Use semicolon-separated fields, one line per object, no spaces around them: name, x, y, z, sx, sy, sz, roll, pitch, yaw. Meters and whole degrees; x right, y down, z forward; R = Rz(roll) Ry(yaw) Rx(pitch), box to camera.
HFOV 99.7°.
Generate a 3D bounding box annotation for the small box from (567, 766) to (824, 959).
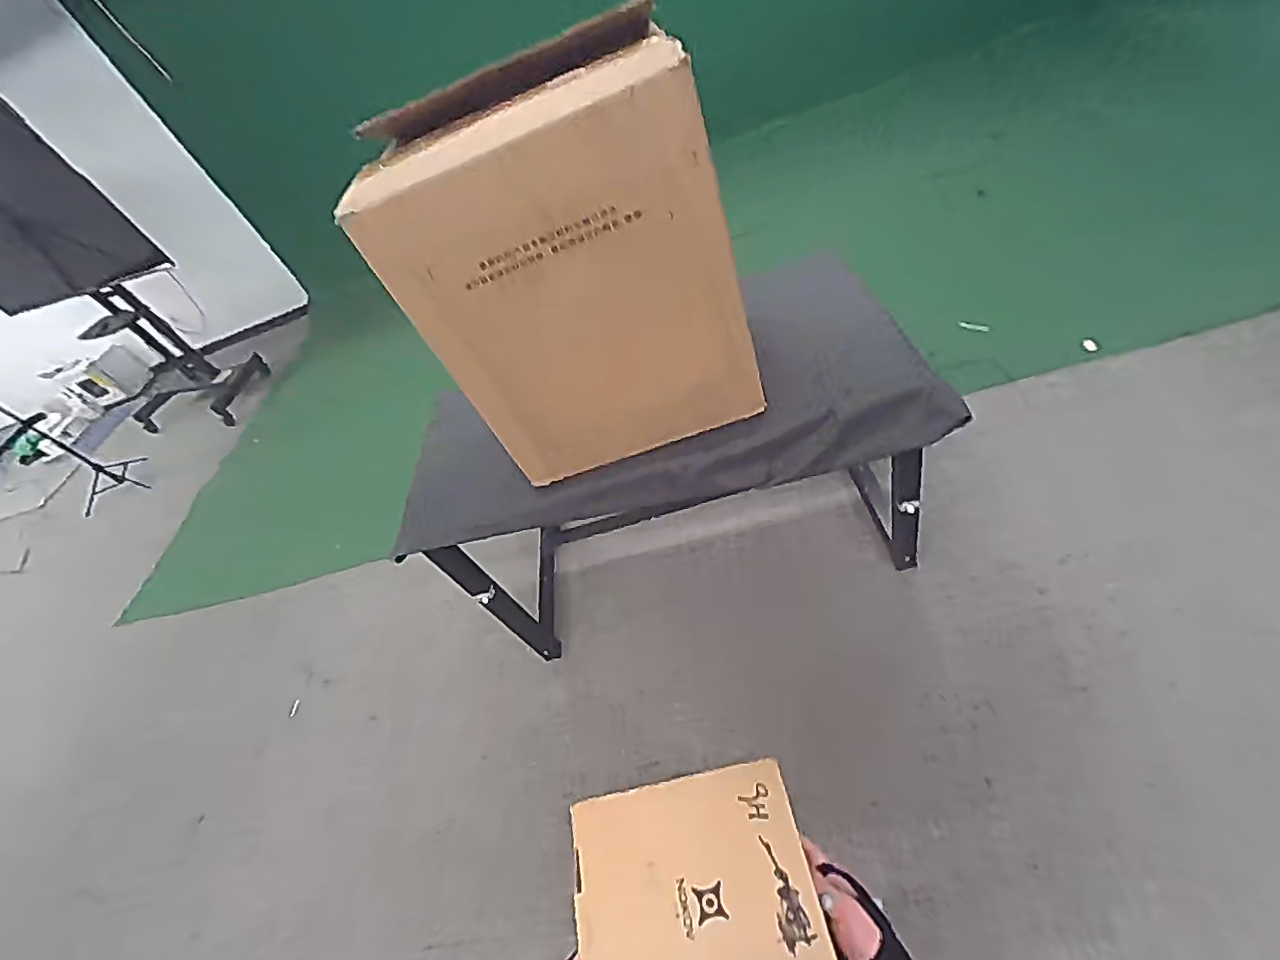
small box;0.046;0.363;0.466;0.179;0.176;0.168;-11;55;-1
